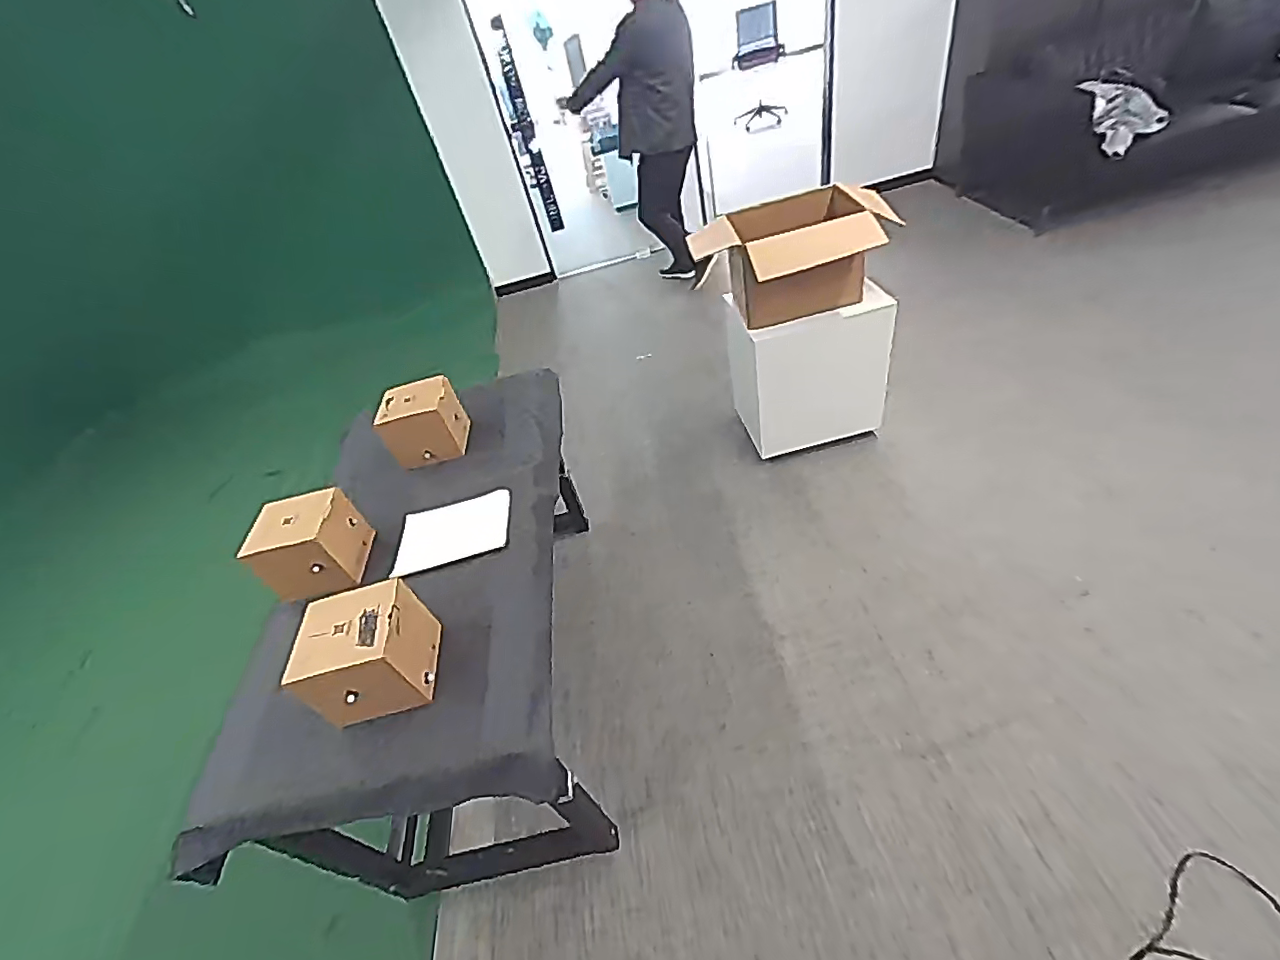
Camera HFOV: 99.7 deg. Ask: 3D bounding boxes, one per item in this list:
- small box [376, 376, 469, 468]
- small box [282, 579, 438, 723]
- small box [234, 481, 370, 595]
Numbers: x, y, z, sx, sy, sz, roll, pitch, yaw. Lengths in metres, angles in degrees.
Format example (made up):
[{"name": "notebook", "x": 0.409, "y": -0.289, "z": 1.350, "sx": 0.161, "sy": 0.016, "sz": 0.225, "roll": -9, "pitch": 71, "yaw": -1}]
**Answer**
[{"name": "small box", "x": -0.590, "y": -0.158, "z": 1.496, "sx": 0.179, "sy": 0.176, "sz": 0.168, "roll": -13, "pitch": 42, "yaw": 2}, {"name": "small box", "x": -0.487, "y": 0.309, "z": 0.975, "sx": 0.179, "sy": 0.176, "sz": 0.168, "roll": -15, "pitch": 42, "yaw": 1}, {"name": "small box", "x": -0.743, "y": 0.132, "z": 1.215, "sx": 0.179, "sy": 0.176, "sz": 0.168, "roll": -15, "pitch": 42, "yaw": 2}]
